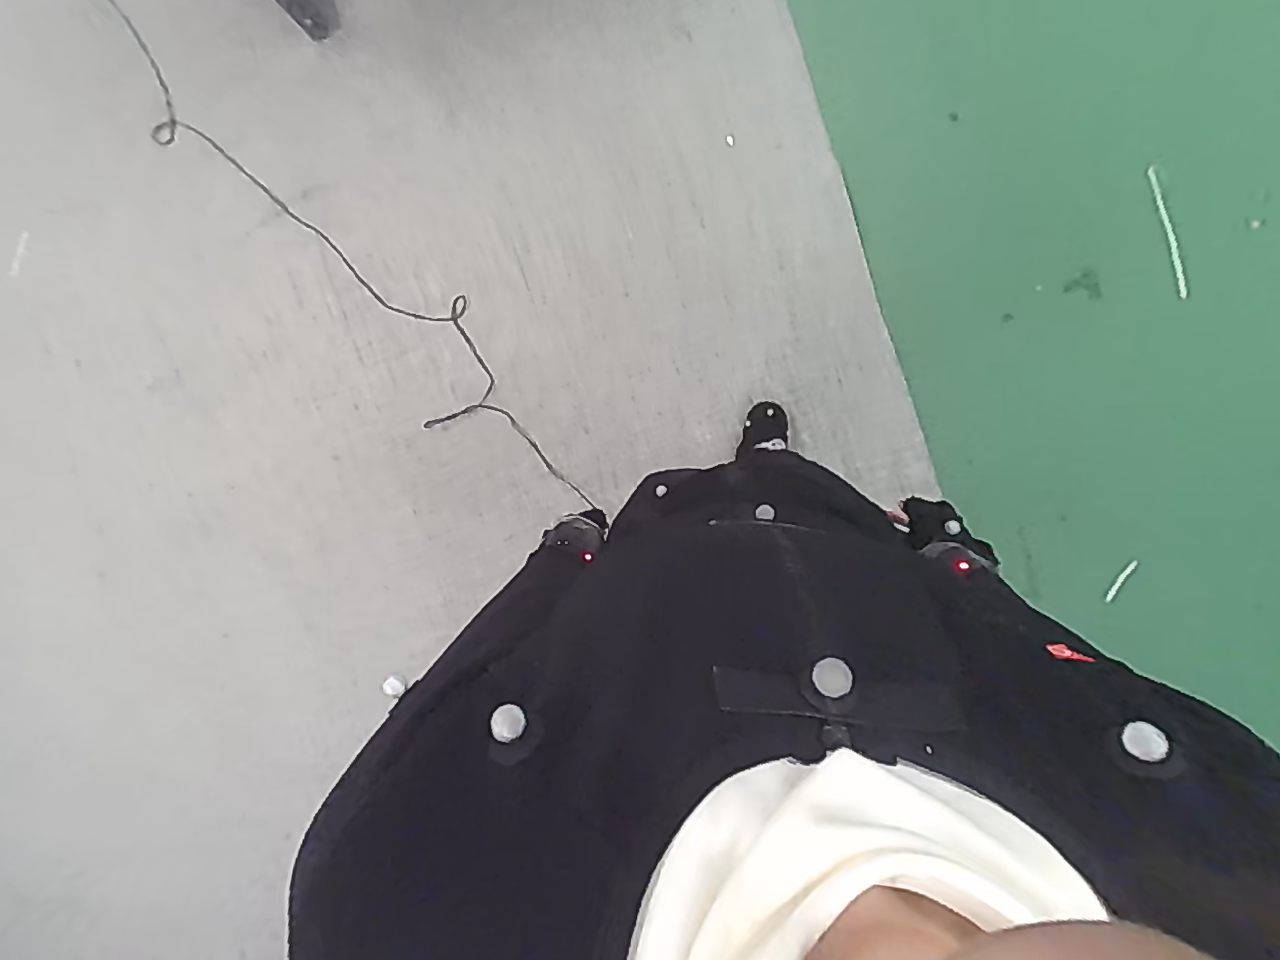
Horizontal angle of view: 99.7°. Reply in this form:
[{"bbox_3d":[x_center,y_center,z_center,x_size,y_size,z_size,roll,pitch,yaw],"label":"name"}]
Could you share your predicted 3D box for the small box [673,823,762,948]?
[{"bbox_3d":[0.193,1.024,1.377,0.179,0.176,0.168,-21,93,5],"label":"small box"}]
